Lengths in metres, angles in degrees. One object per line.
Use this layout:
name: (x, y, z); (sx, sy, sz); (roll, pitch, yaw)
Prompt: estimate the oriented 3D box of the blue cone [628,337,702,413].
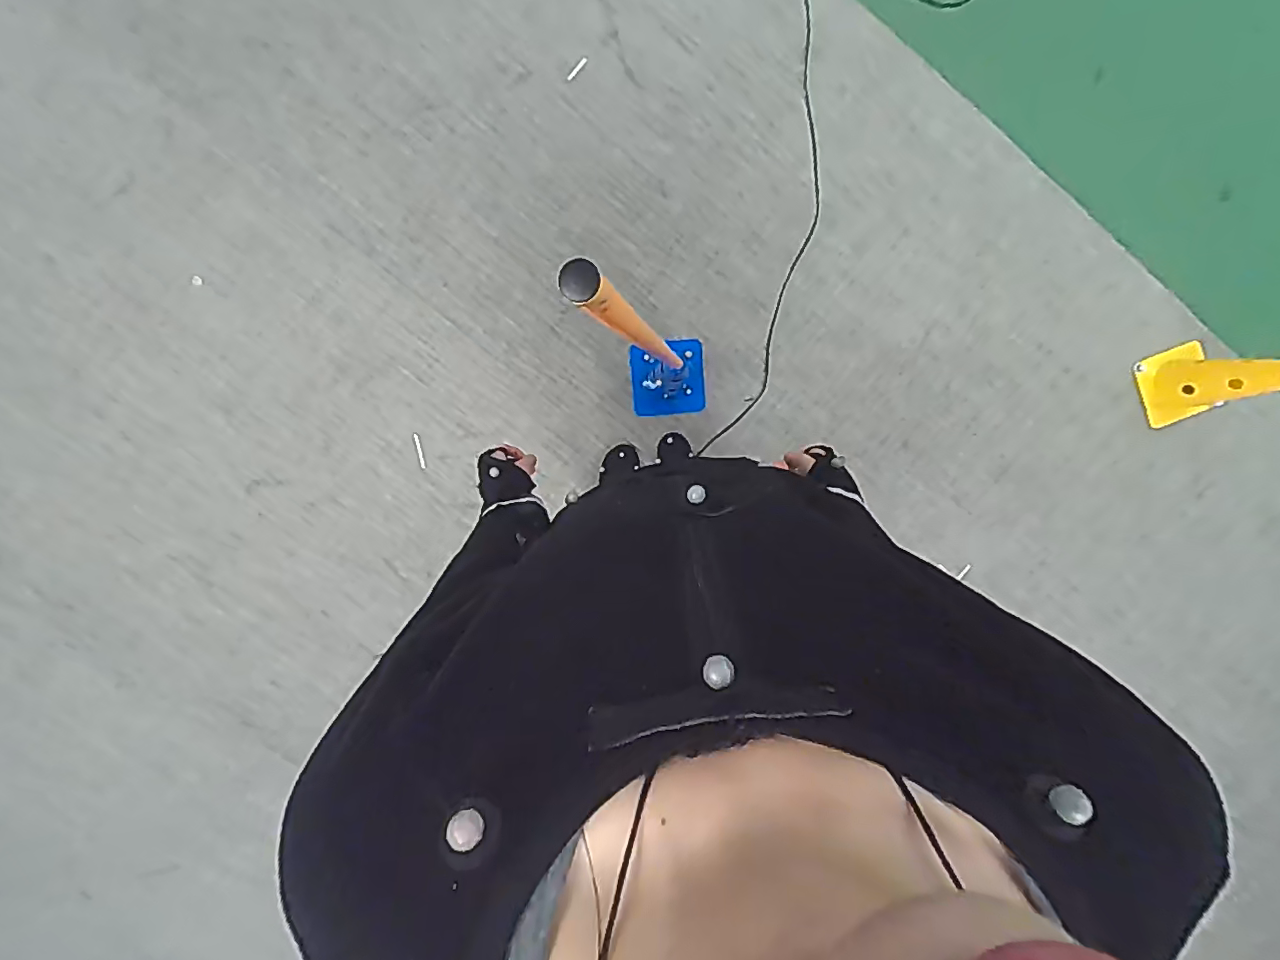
blue cone: (0.070, -0.264, 1.293); (0.193, 0.380, 0.192); (-6, 96, 1)
